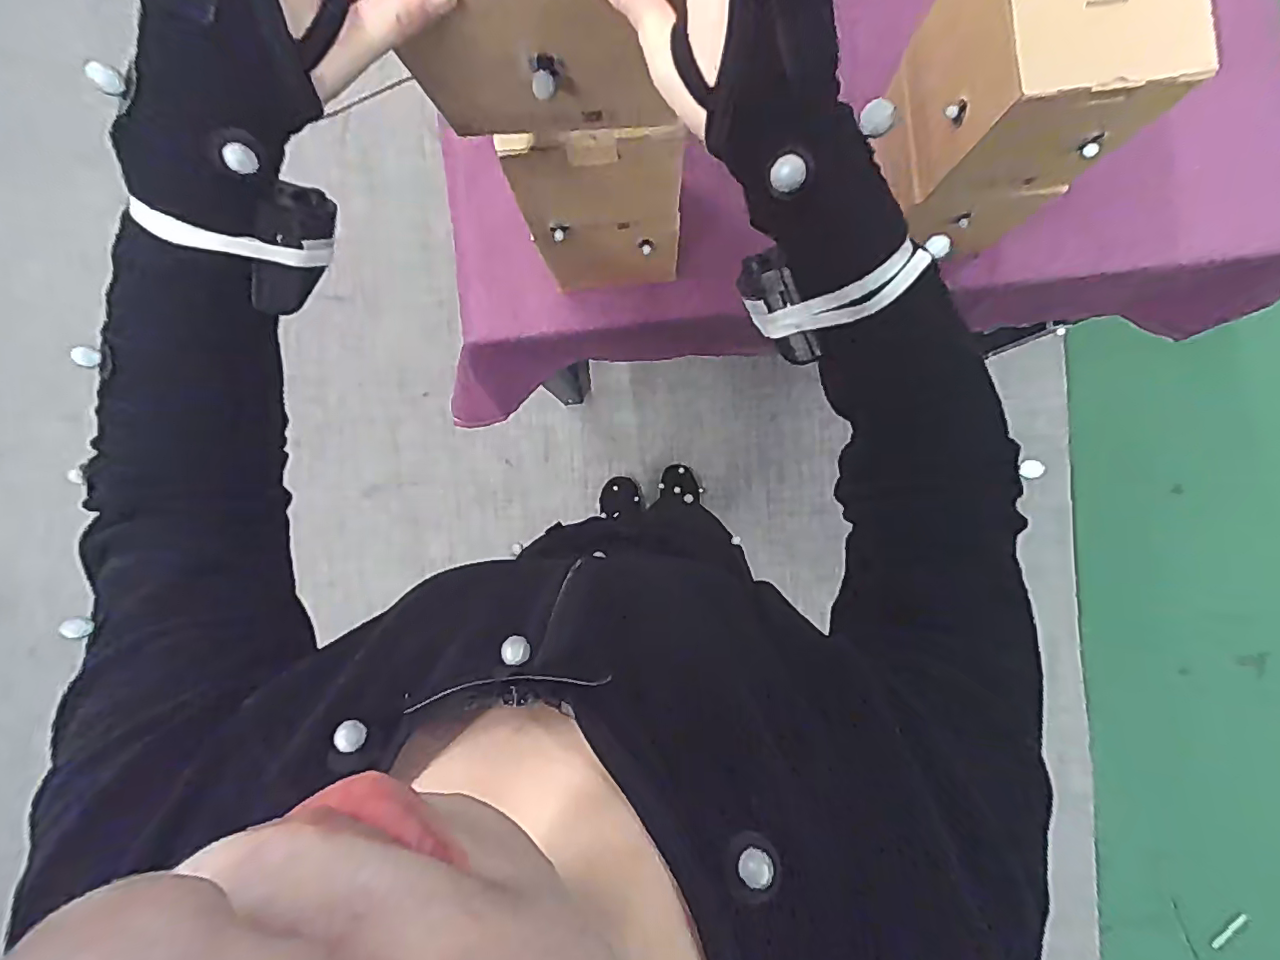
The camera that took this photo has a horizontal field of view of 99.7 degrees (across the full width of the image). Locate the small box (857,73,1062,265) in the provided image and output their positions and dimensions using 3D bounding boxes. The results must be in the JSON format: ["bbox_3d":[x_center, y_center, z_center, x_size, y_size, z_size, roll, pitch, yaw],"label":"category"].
[{"bbox_3d":[0.394,-0.394,0.702,0.179,0.176,0.168,-4,89,1],"label":"small box"}]

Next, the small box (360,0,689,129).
[{"bbox_3d":[-0.055,-0.328,0.311,0.168,0.176,0.179,-2,98,2],"label":"small box"}]

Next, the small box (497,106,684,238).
[{"bbox_3d":[-0.047,-0.366,0.549,0.168,0.176,0.179,-6,87,0],"label":"small box"}]

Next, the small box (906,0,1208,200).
[{"bbox_3d":[0.391,-0.403,0.539,0.168,0.176,0.179,-6,88,1],"label":"small box"}]

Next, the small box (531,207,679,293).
[{"bbox_3d":[-0.044,-0.360,0.713,0.179,0.176,0.168,-5,89,0],"label":"small box"}]
